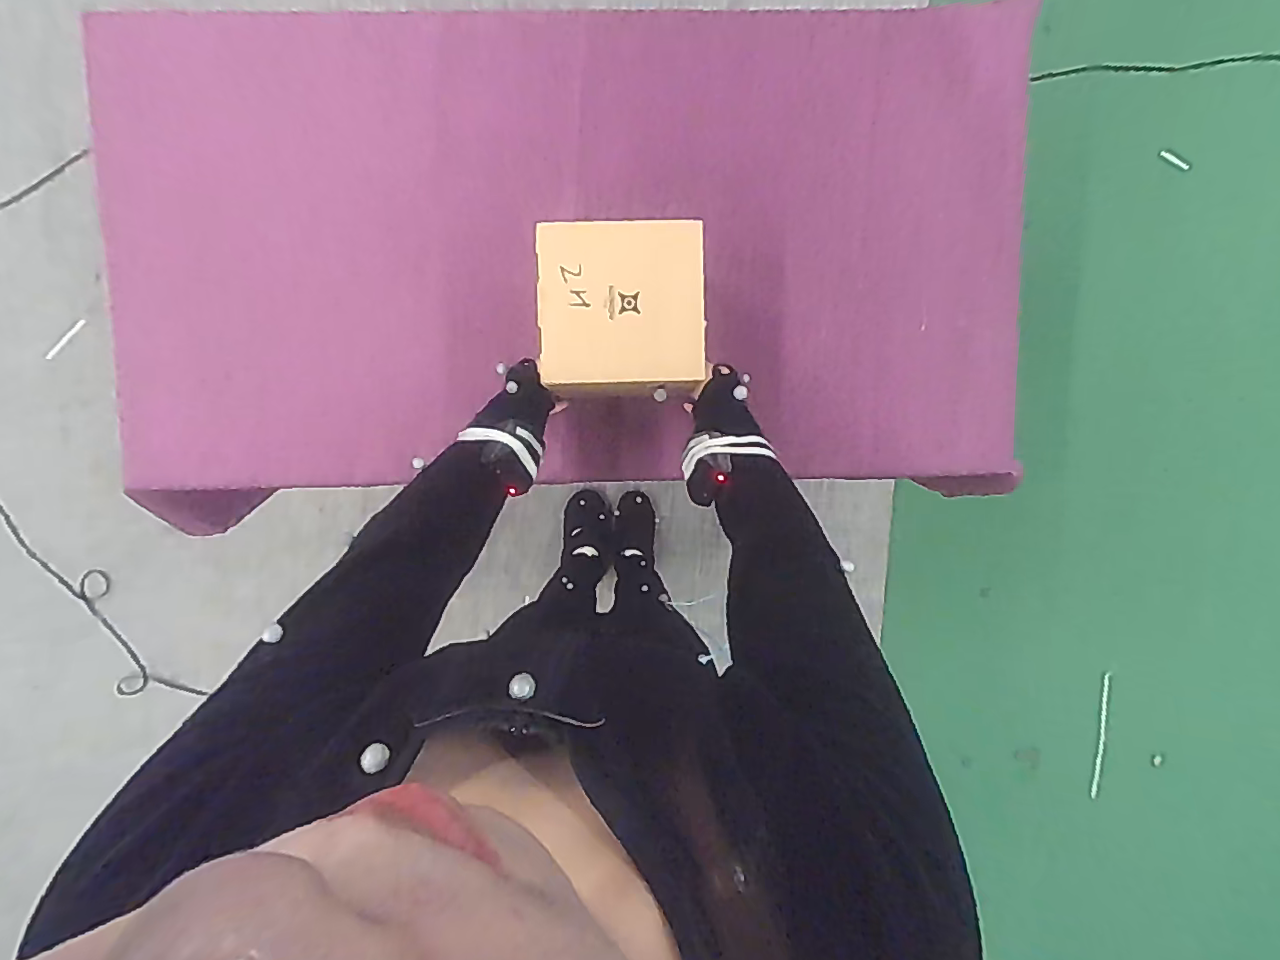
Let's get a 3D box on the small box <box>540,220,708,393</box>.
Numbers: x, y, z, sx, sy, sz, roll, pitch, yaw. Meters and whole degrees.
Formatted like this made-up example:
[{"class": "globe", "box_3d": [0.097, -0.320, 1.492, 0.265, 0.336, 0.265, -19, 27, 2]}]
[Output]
[{"class": "small box", "box_3d": [-0.017, -0.194, 0.646, 0.179, 0.176, 0.168, -1, 94, 0]}]
